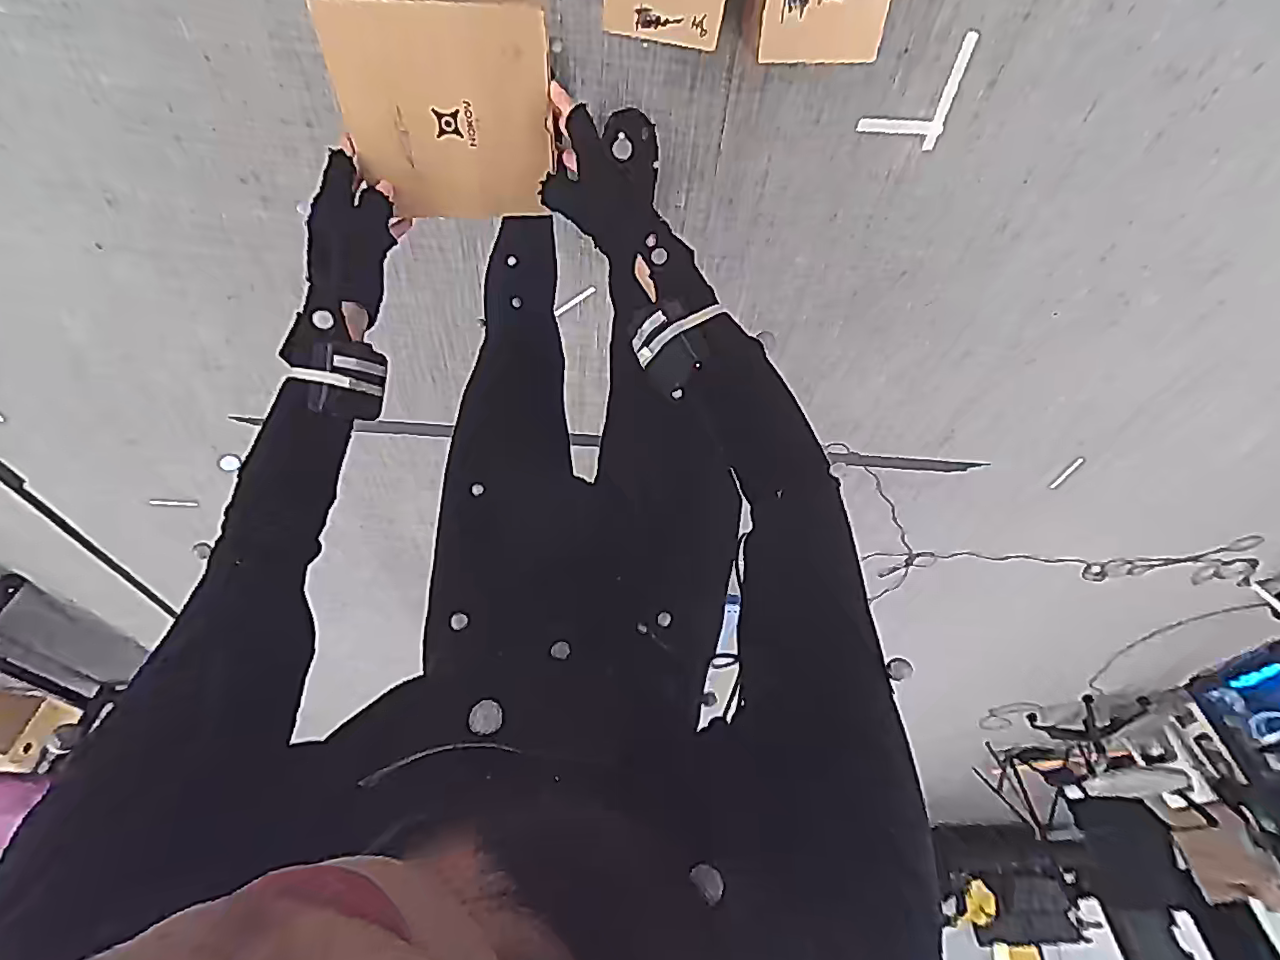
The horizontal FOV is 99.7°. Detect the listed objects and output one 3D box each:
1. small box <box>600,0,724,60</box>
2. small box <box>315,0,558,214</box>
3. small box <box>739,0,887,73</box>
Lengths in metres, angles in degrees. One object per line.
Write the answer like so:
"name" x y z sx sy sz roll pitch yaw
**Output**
"small box" 0.035 -0.730 0.760 0.168 0.176 0.179 6 137 -7
"small box" -0.177 -0.380 0.521 0.179 0.176 0.168 -5 143 -8
"small box" 0.248 -0.712 0.784 0.179 0.176 0.168 -1 139 -2
